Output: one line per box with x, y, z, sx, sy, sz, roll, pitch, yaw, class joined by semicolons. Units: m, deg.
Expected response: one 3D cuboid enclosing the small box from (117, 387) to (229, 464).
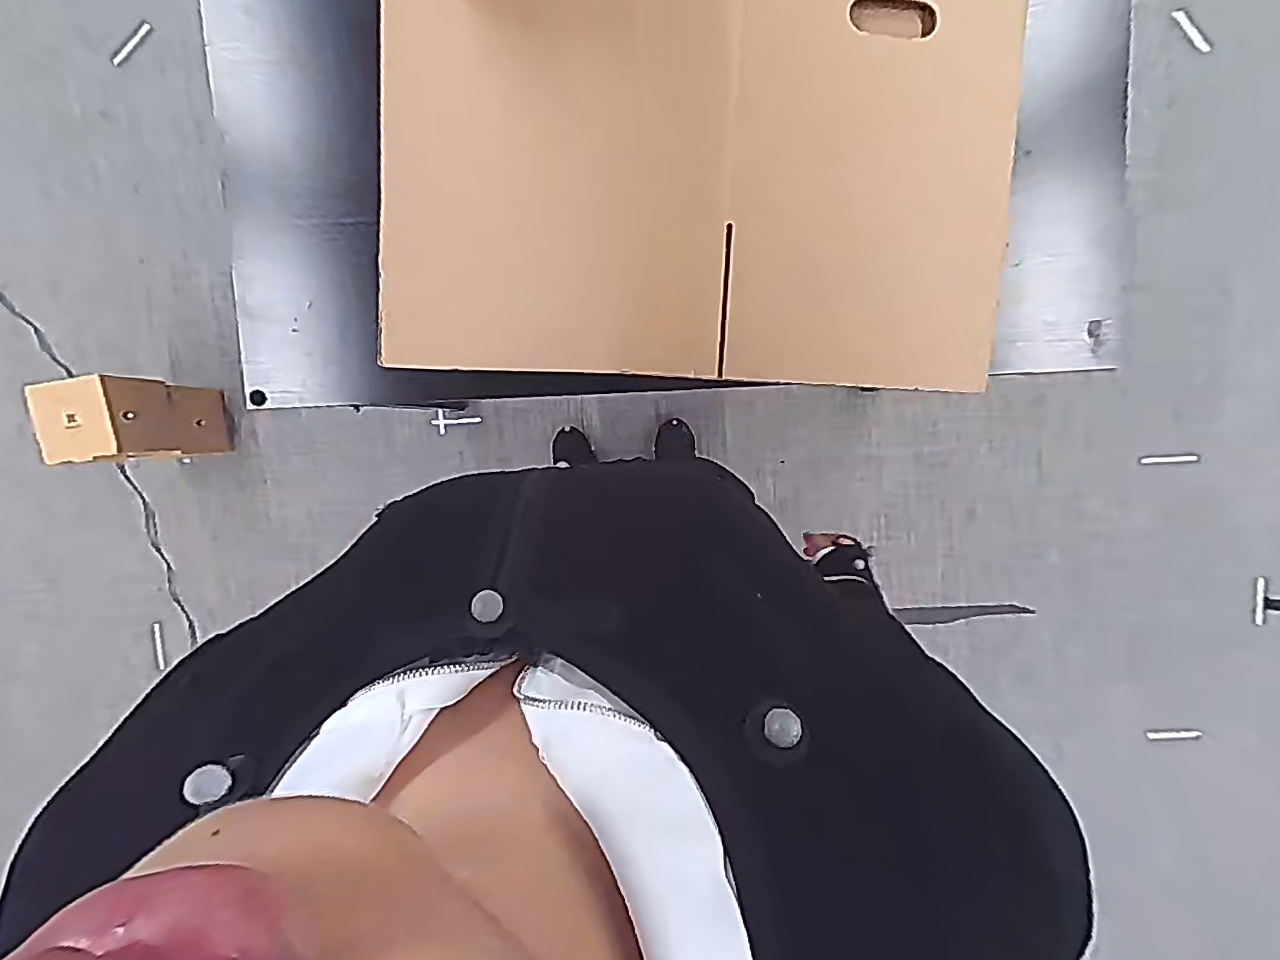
-1.217;-0.140;1.400;0.168;0.176;0.179;-7;96;1;small box

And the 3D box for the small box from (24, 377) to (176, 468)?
-1.220;-0.131;1.238;0.168;0.176;0.179;-10;94;0;small box
